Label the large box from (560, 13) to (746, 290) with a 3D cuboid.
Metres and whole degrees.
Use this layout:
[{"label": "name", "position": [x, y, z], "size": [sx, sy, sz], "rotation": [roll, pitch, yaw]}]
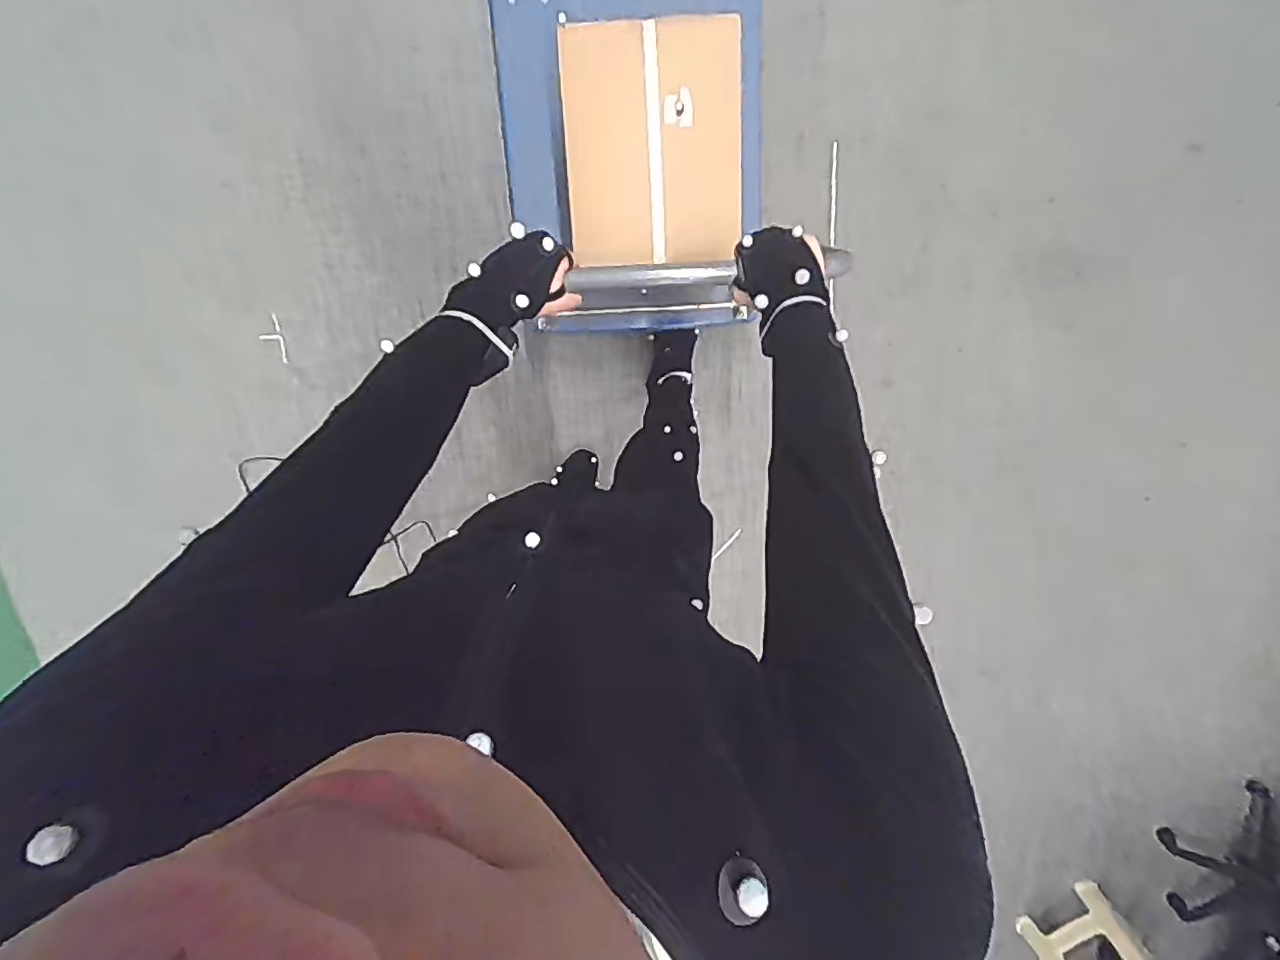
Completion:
[{"label": "large box", "position": [0.029, -0.622, 1.103], "size": [0.320, 0.320, 0.408], "rotation": [-4, 105, -1]}]
